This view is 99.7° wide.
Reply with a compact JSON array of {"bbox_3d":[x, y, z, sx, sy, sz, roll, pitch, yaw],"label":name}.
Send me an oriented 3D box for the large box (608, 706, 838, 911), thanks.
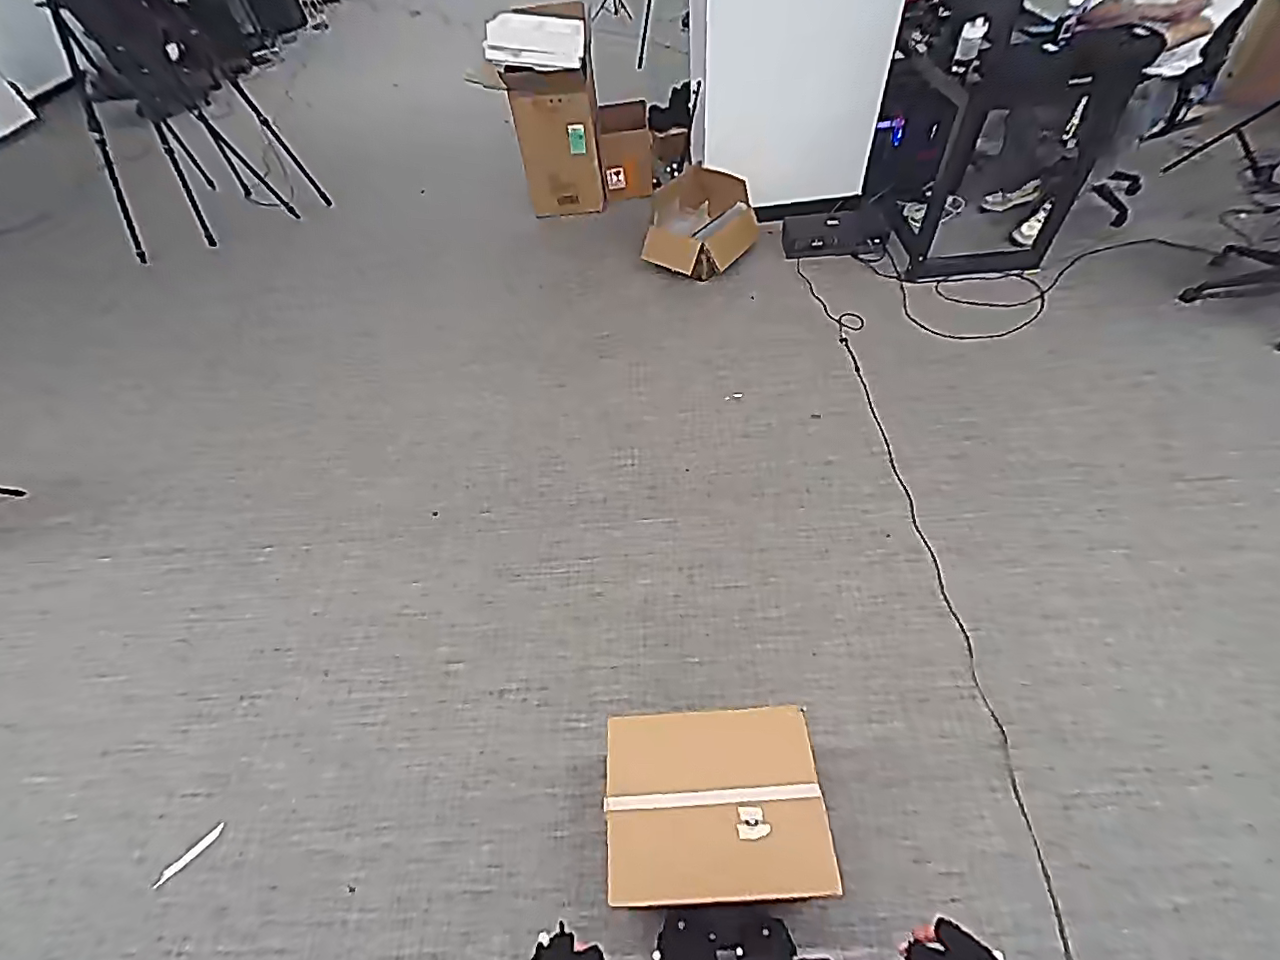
[{"bbox_3d":[0.149,0.700,1.146,0.408,0.320,0.320,-5,52,1],"label":"large box"}]
